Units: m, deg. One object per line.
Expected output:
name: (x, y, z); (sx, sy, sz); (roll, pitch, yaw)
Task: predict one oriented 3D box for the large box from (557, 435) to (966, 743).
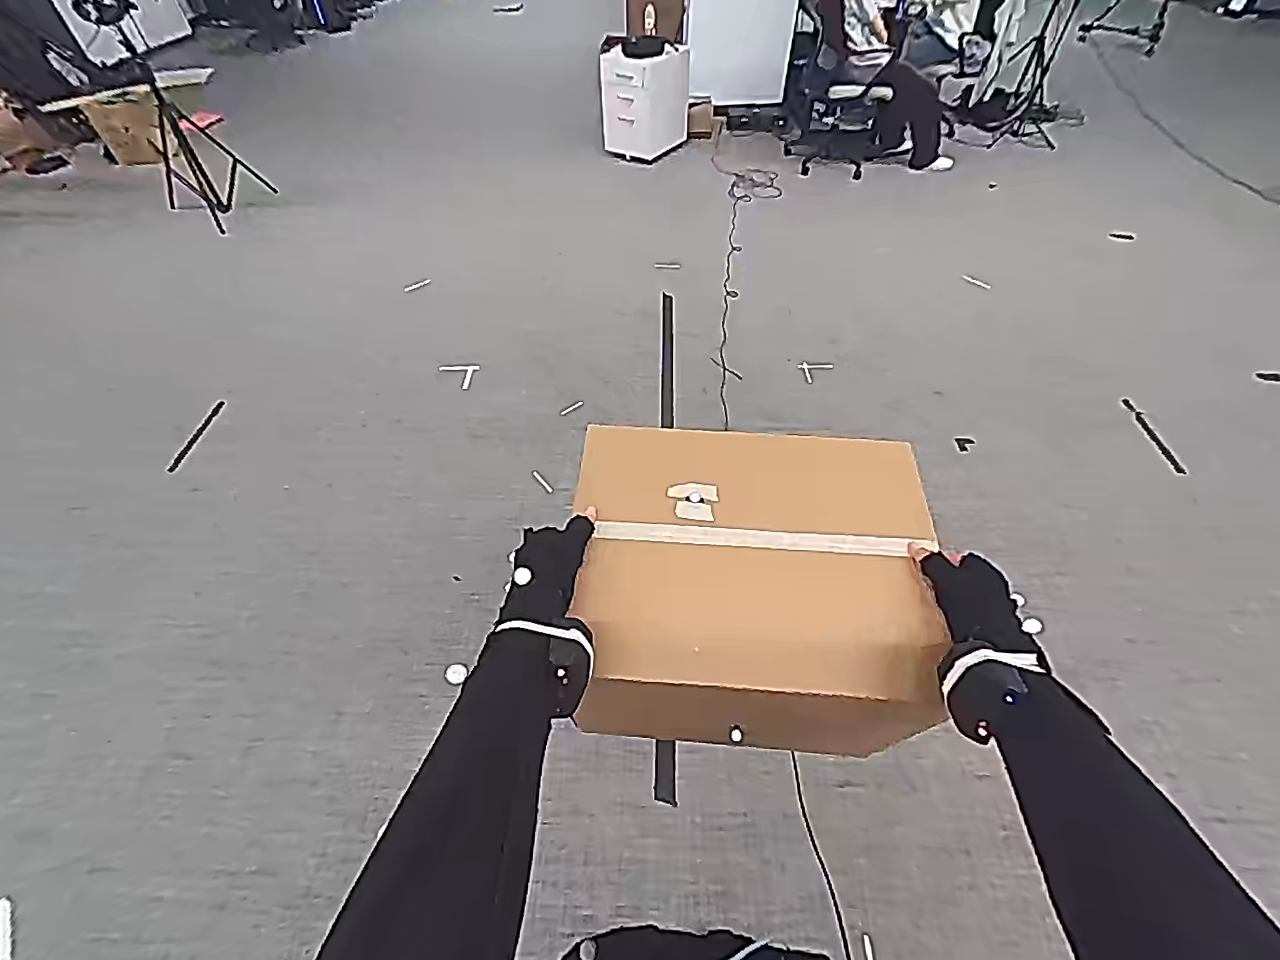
large box: (0.129, 0.158, 0.729); (0.408, 0.320, 0.320); (3, 55, 3)
